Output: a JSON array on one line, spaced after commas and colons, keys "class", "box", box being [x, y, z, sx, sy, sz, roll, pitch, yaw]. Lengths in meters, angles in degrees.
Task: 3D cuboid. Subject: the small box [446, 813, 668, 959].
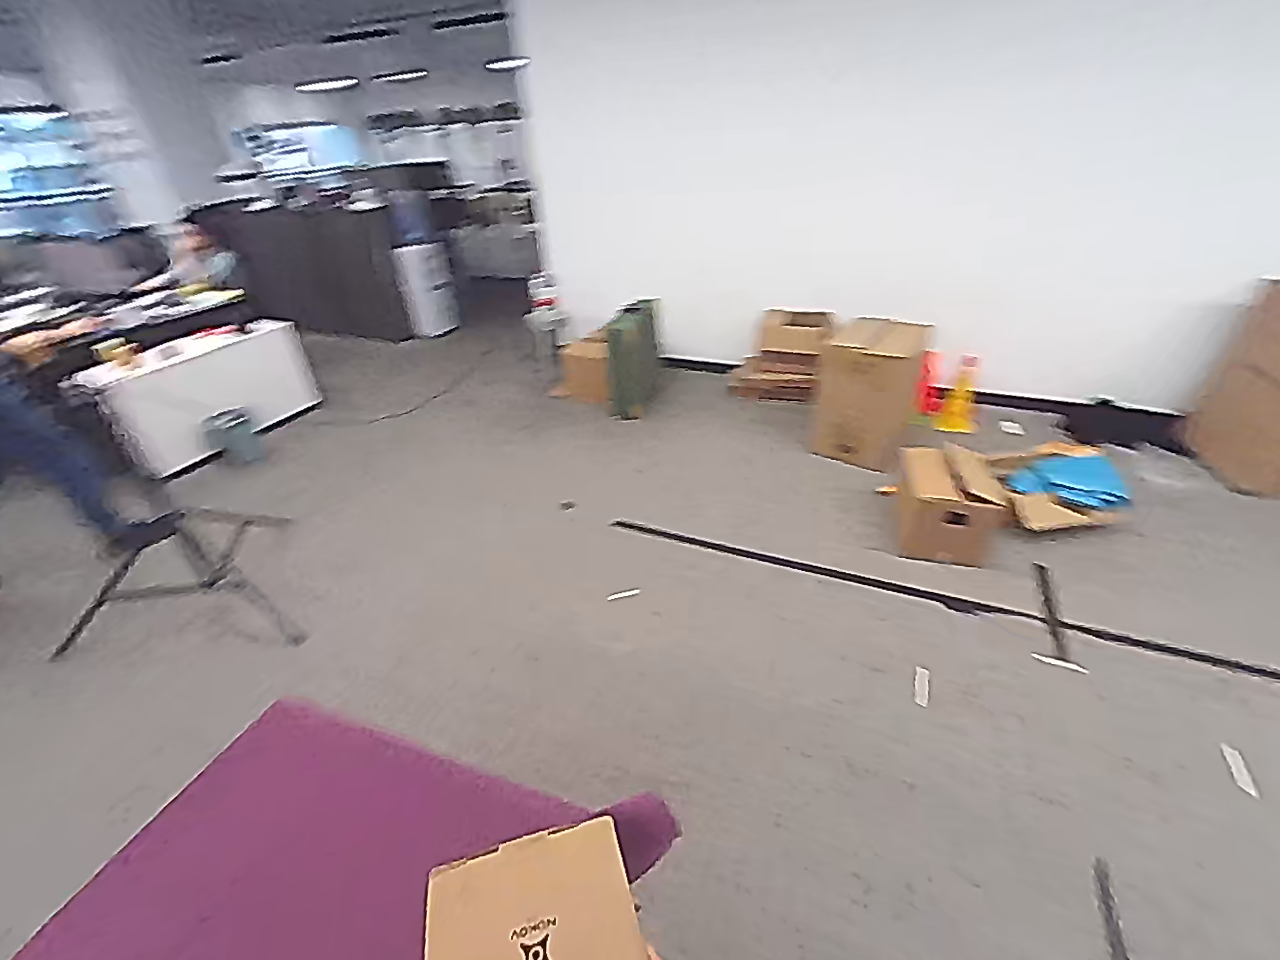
[{"class": "small box", "box": [-0.066, 0.432, 0.451, 0.168, 0.176, 0.179, -8, 25, -15]}]
